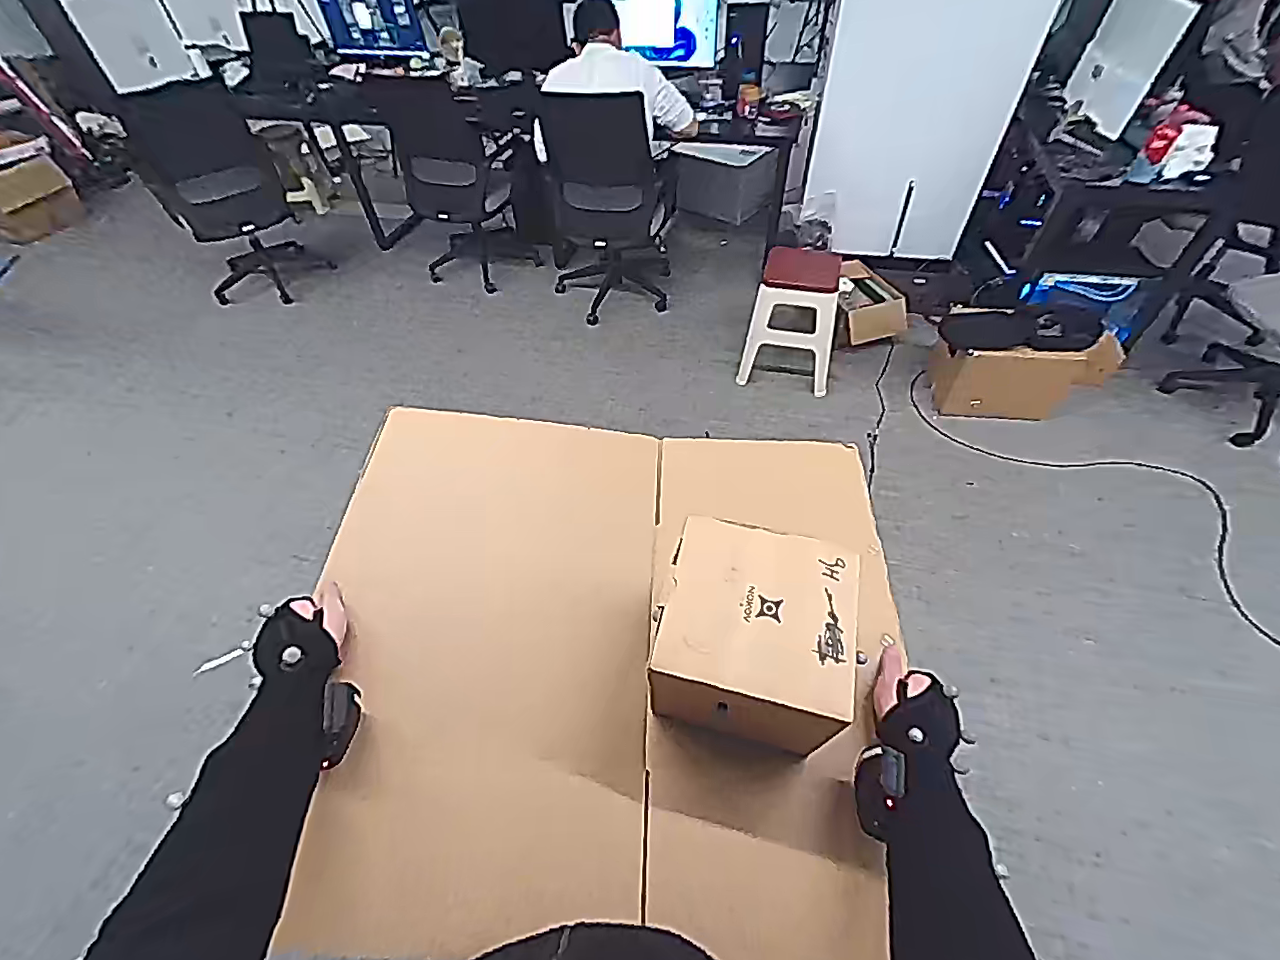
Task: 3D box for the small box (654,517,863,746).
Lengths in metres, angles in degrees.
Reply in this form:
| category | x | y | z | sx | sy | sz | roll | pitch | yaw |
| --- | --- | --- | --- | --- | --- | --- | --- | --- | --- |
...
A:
| category | x | y | z | sx | sy | sz | roll | pitch | yaw |
| --- | --- | --- | --- | --- | --- | --- | --- | --- | --- |
| small box | 0.121 | 0.164 | 0.573 | 0.179 | 0.176 | 0.168 | 11 | 56 | 11 |
